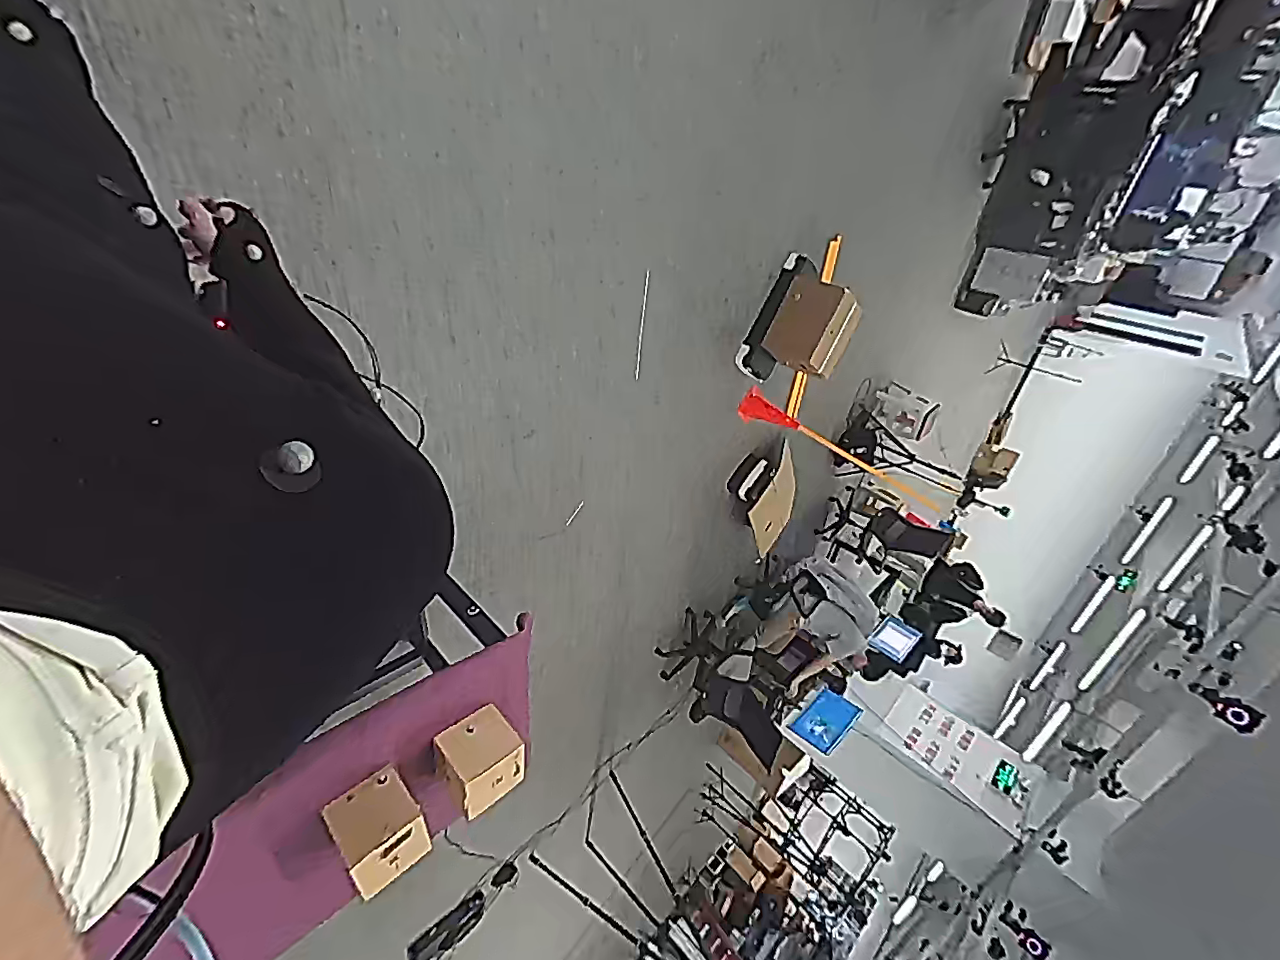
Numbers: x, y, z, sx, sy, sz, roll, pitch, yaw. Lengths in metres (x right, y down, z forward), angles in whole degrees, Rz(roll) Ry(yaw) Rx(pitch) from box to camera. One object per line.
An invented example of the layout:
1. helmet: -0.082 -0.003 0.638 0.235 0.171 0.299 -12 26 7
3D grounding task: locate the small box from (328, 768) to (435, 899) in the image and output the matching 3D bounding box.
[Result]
1. small box: -0.615 0.830 1.289 0.168 0.176 0.179 -27 135 -38

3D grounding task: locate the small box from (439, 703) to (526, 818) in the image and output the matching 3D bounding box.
1. small box: -0.429 0.750 1.462 0.179 0.176 0.168 -21 131 -41
